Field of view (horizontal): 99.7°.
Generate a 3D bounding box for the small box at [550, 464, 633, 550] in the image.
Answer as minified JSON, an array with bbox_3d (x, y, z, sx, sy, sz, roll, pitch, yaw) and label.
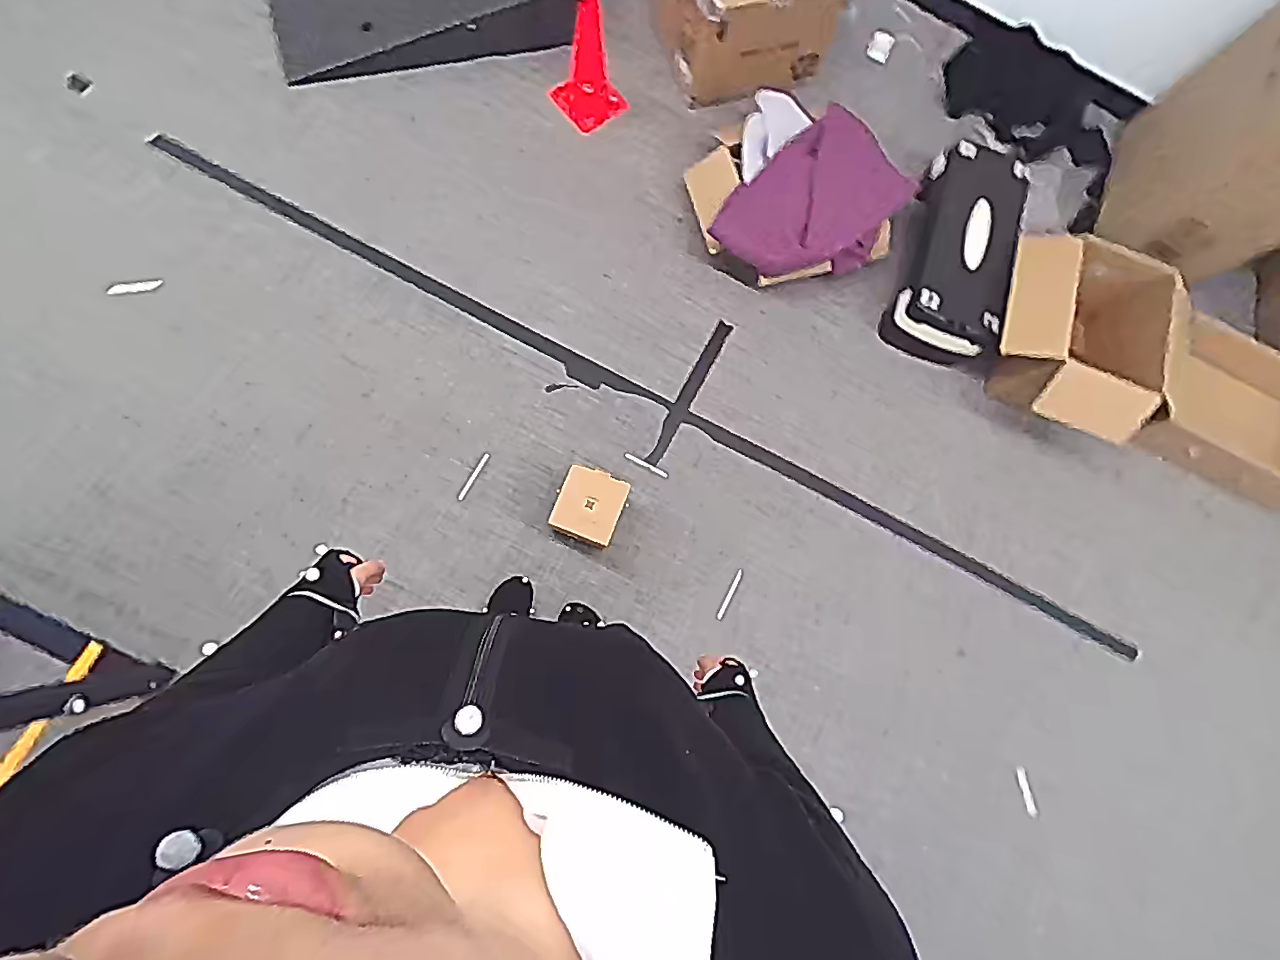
[{"bbox_3d":[-0.133,0.080,1.462,0.168,0.176,0.179,22,79,-2],"label":"small box"}]
